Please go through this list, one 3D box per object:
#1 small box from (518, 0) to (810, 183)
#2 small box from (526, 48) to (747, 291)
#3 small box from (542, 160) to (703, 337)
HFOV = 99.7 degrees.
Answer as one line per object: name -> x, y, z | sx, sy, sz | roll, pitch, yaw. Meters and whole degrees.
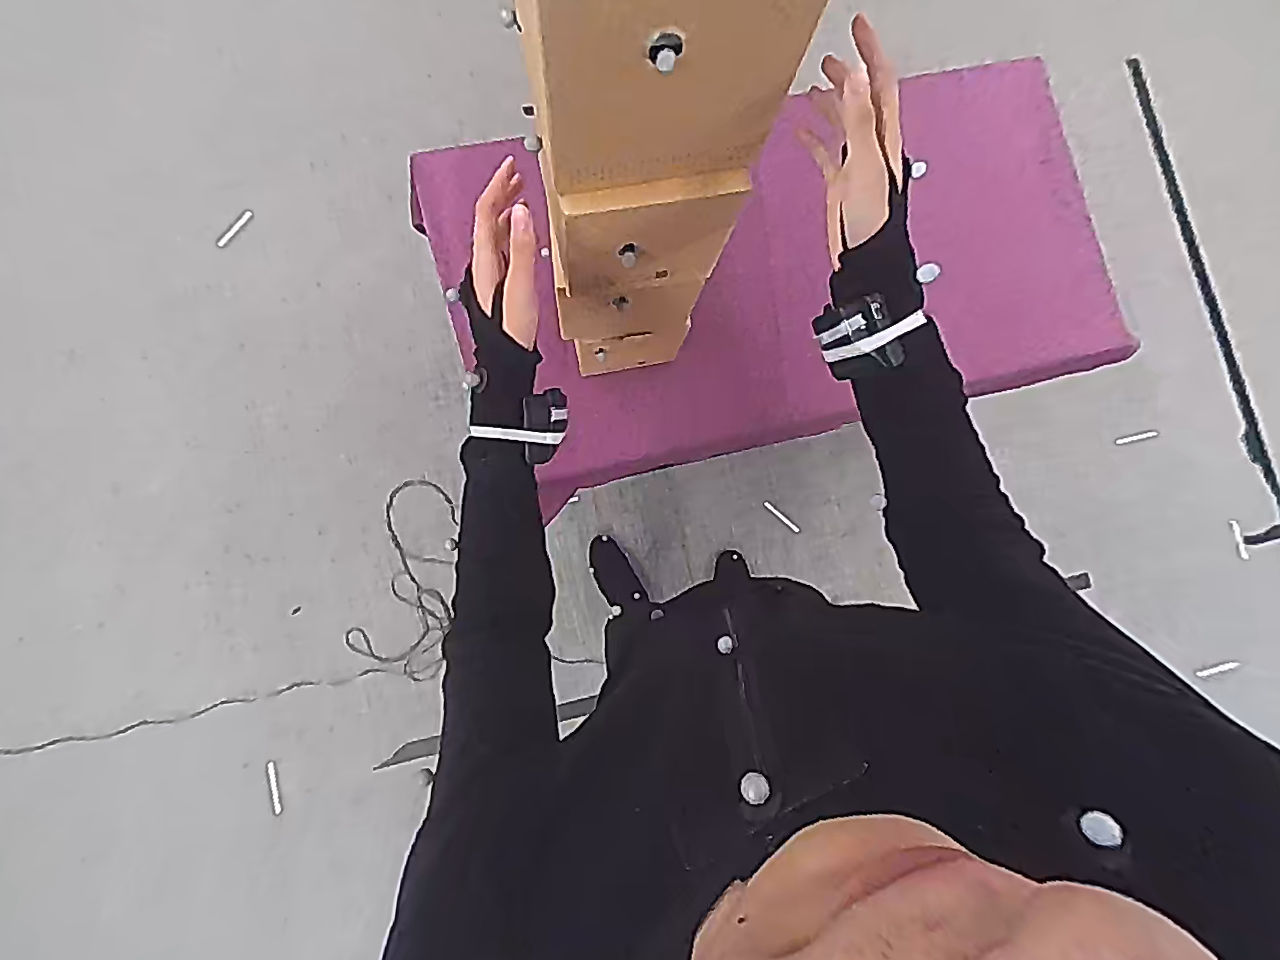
small box -> 0.005, -0.340, 0.379 | 0.179, 0.176, 0.168 | -12, 85, -7
small box -> -0.009, -0.307, 0.540 | 0.168, 0.176, 0.179 | -12, 84, -7
small box -> -0.027, -0.294, 0.702 | 0.179, 0.176, 0.168 | -5, 85, -6
